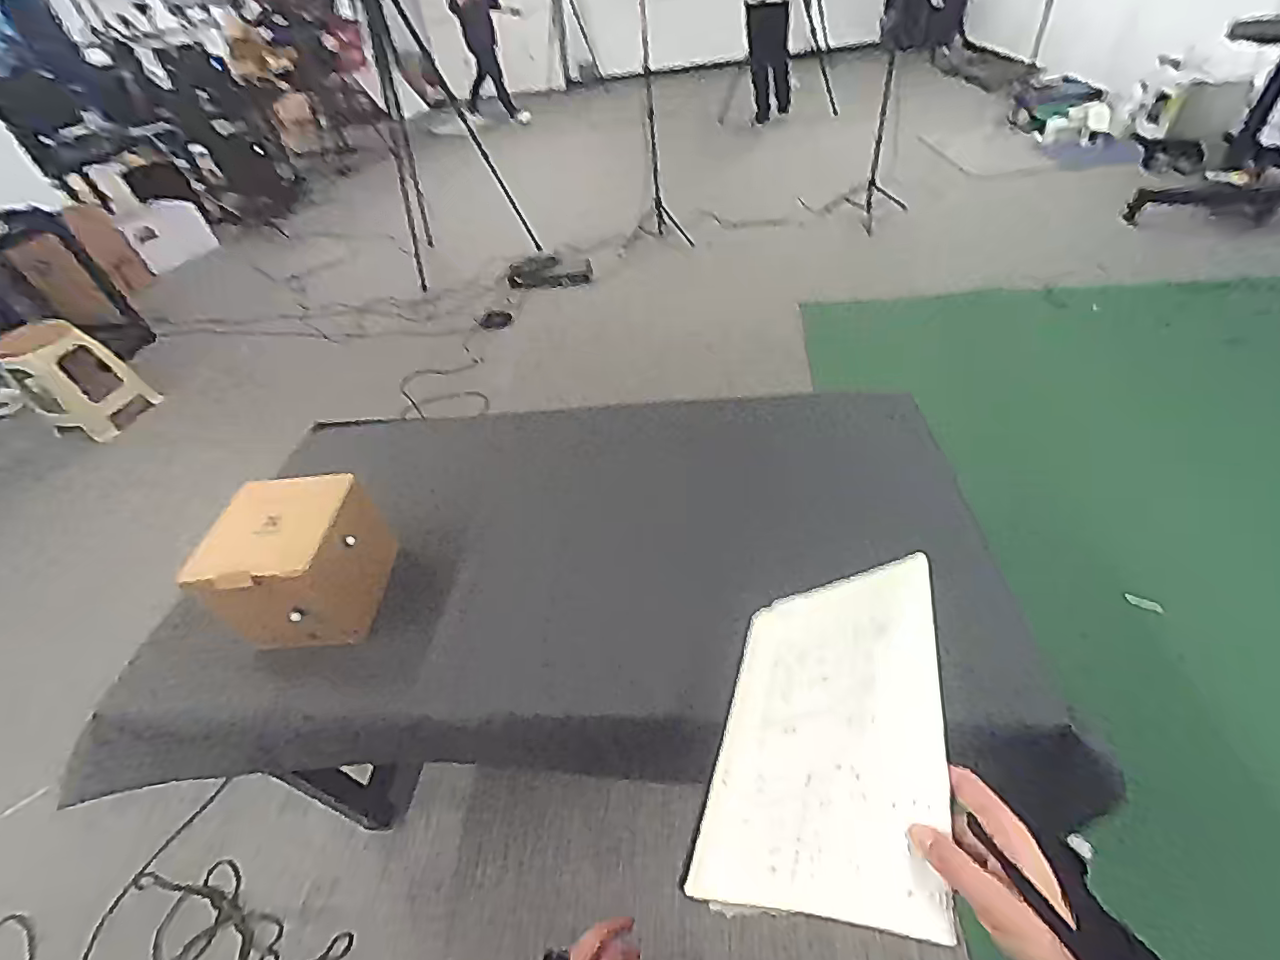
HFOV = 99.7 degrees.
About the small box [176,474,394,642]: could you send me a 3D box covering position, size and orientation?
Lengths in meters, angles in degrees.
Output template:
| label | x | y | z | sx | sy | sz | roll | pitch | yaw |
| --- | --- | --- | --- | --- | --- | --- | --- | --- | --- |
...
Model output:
| label | x | y | z | sx | sy | sz | roll | pitch | yaw |
| --- | --- | --- | --- | --- | --- | --- | --- | --- | --- |
| small box | -0.476 | 0.115 | 0.764 | 0.168 | 0.176 | 0.179 | -5 | 43 | 2 |
